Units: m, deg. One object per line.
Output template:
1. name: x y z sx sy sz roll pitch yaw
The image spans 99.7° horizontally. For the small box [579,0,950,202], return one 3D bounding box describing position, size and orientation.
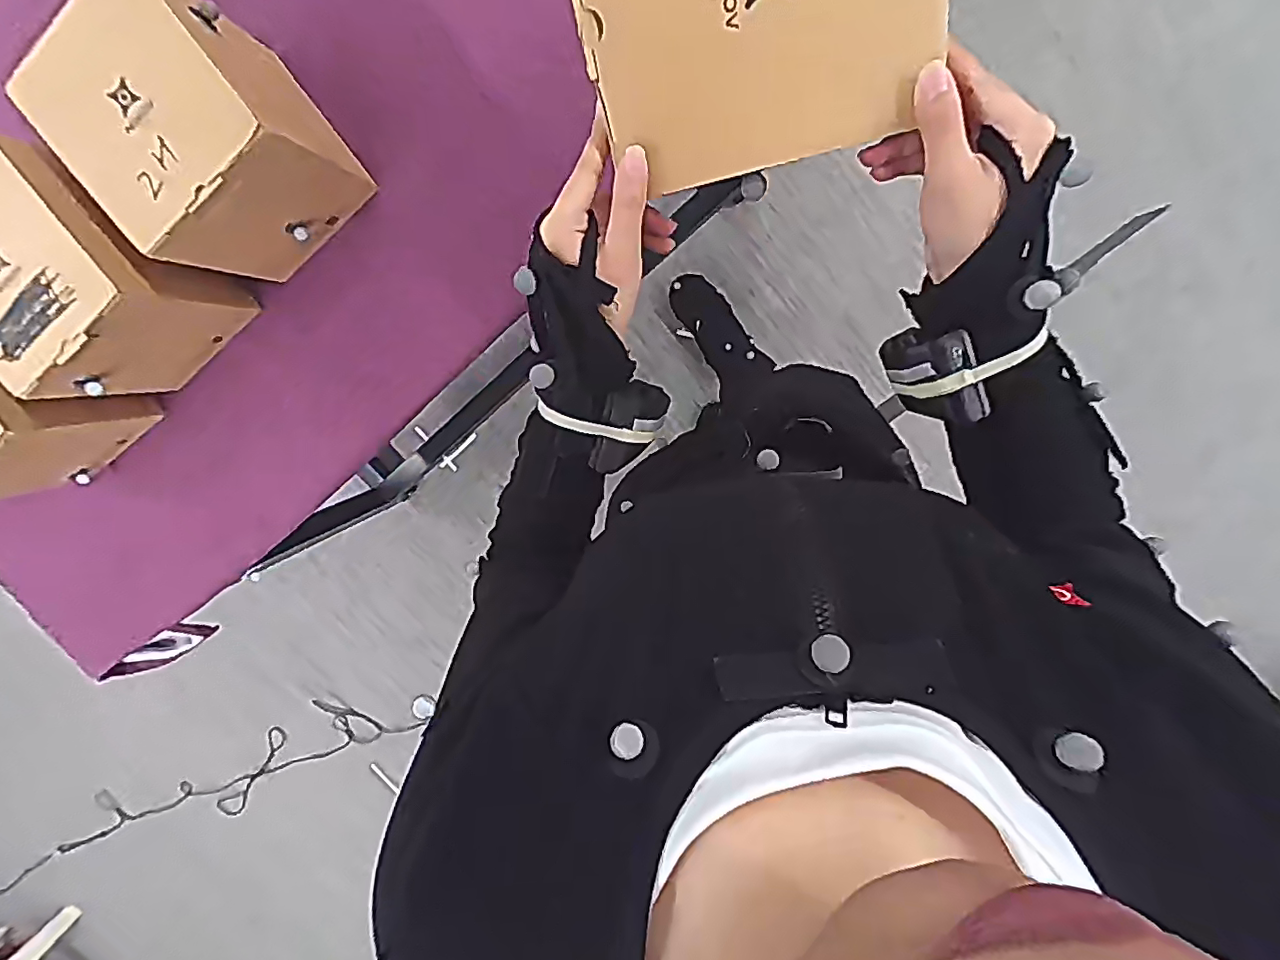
1. small box: 0.061 -0.283 0.325 0.179 0.176 0.168 -9 120 10
